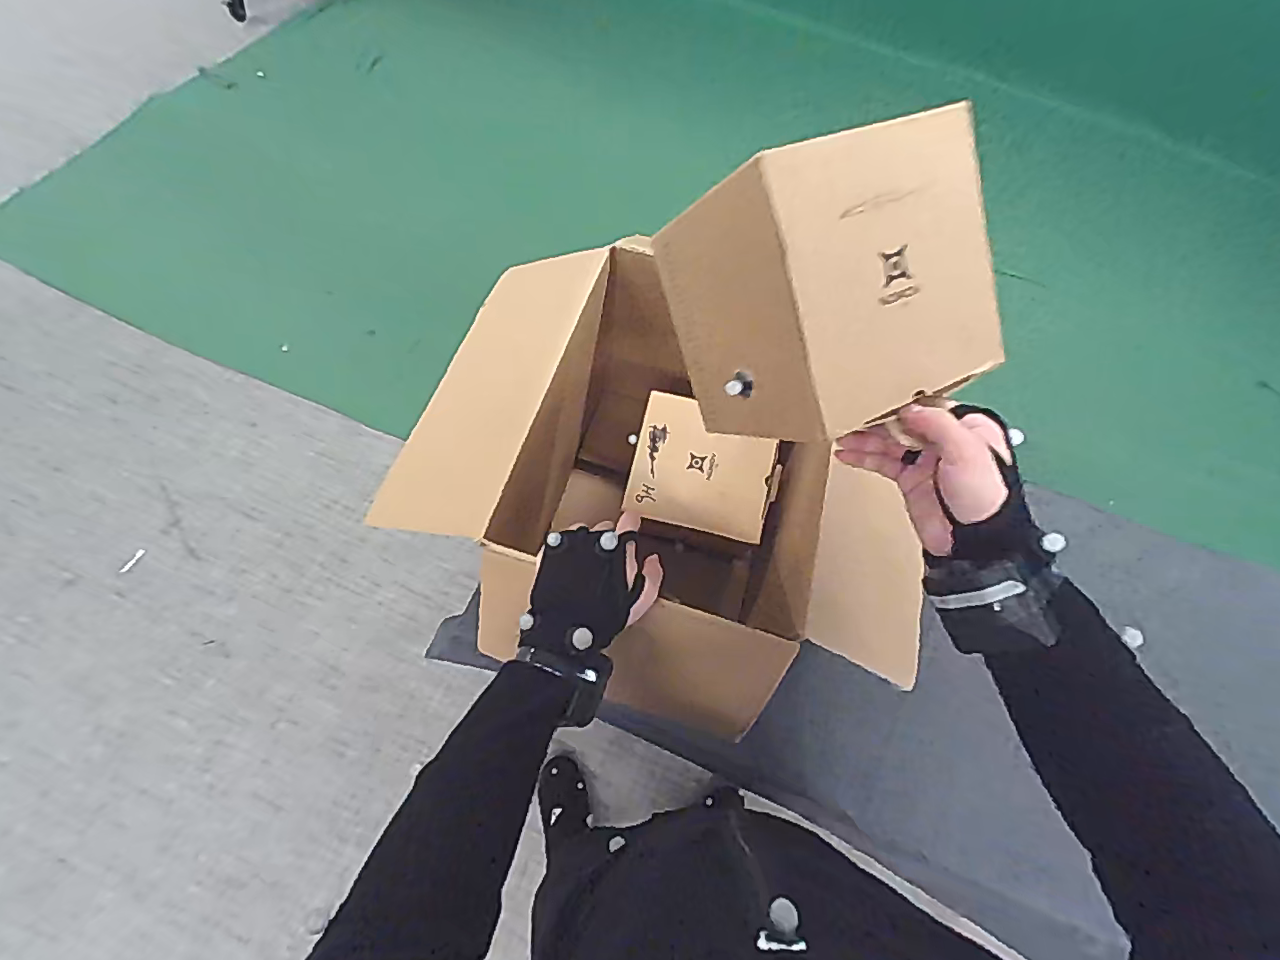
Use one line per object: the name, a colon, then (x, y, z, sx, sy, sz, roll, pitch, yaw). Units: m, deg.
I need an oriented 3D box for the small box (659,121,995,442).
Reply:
small box: (0.137, -0.142, 0.436, 0.168, 0.176, 0.179, -24, 103, -17)
